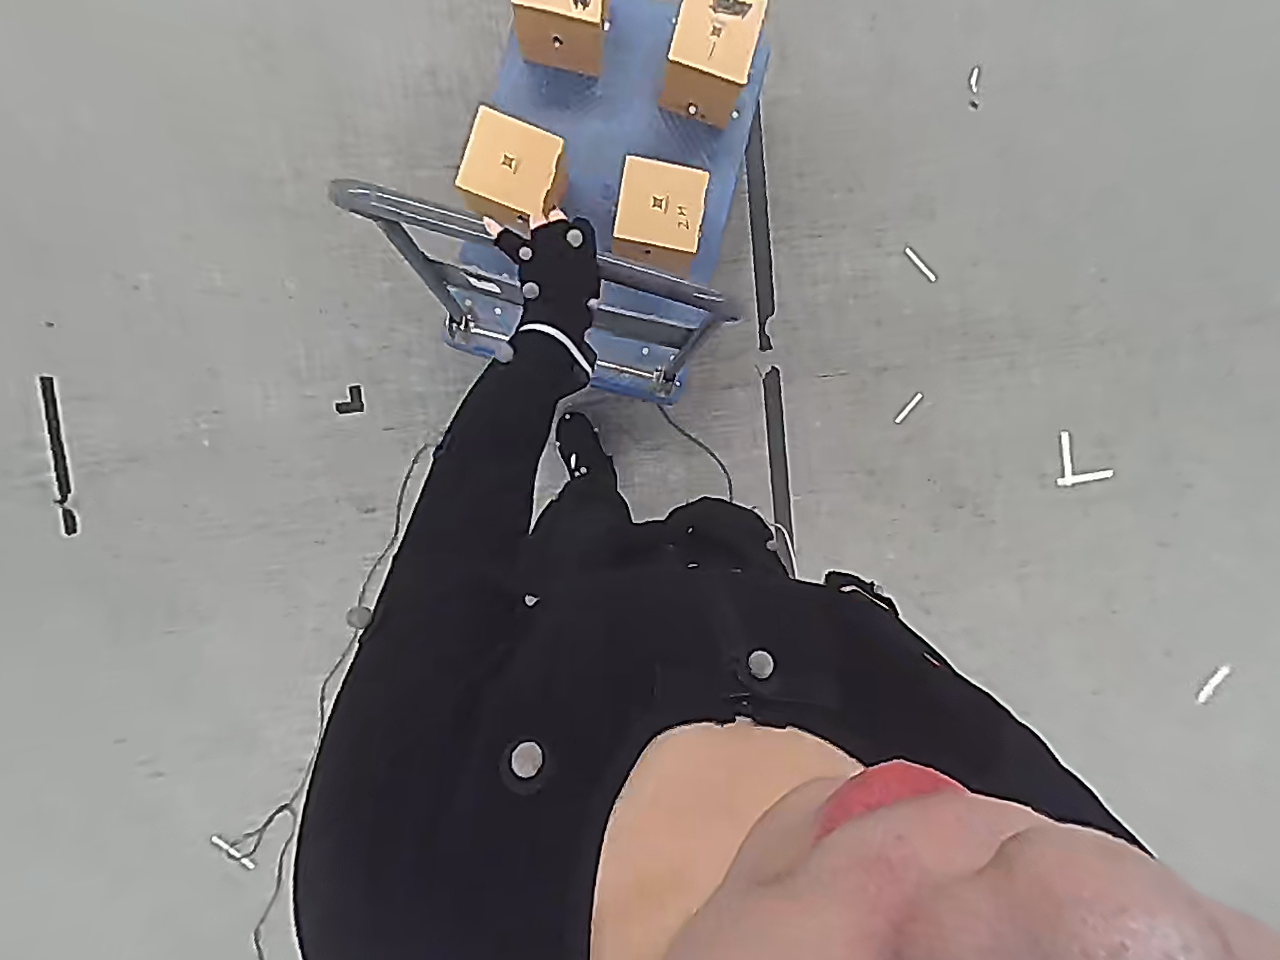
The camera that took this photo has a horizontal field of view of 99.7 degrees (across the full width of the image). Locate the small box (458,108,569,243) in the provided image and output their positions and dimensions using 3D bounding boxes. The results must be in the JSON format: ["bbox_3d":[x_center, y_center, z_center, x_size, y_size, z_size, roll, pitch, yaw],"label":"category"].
[{"bbox_3d":[-0.259,-0.630,1.145,0.179,0.176,0.168,19,92,-7],"label":"small box"}]

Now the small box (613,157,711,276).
[{"bbox_3d":[0.040,-0.561,1.174,0.179,0.176,0.168,10,94,-5],"label":"small box"}]

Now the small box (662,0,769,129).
[{"bbox_3d":[0.152,-0.904,1.156,0.168,0.176,0.179,15,94,-6],"label":"small box"}]
